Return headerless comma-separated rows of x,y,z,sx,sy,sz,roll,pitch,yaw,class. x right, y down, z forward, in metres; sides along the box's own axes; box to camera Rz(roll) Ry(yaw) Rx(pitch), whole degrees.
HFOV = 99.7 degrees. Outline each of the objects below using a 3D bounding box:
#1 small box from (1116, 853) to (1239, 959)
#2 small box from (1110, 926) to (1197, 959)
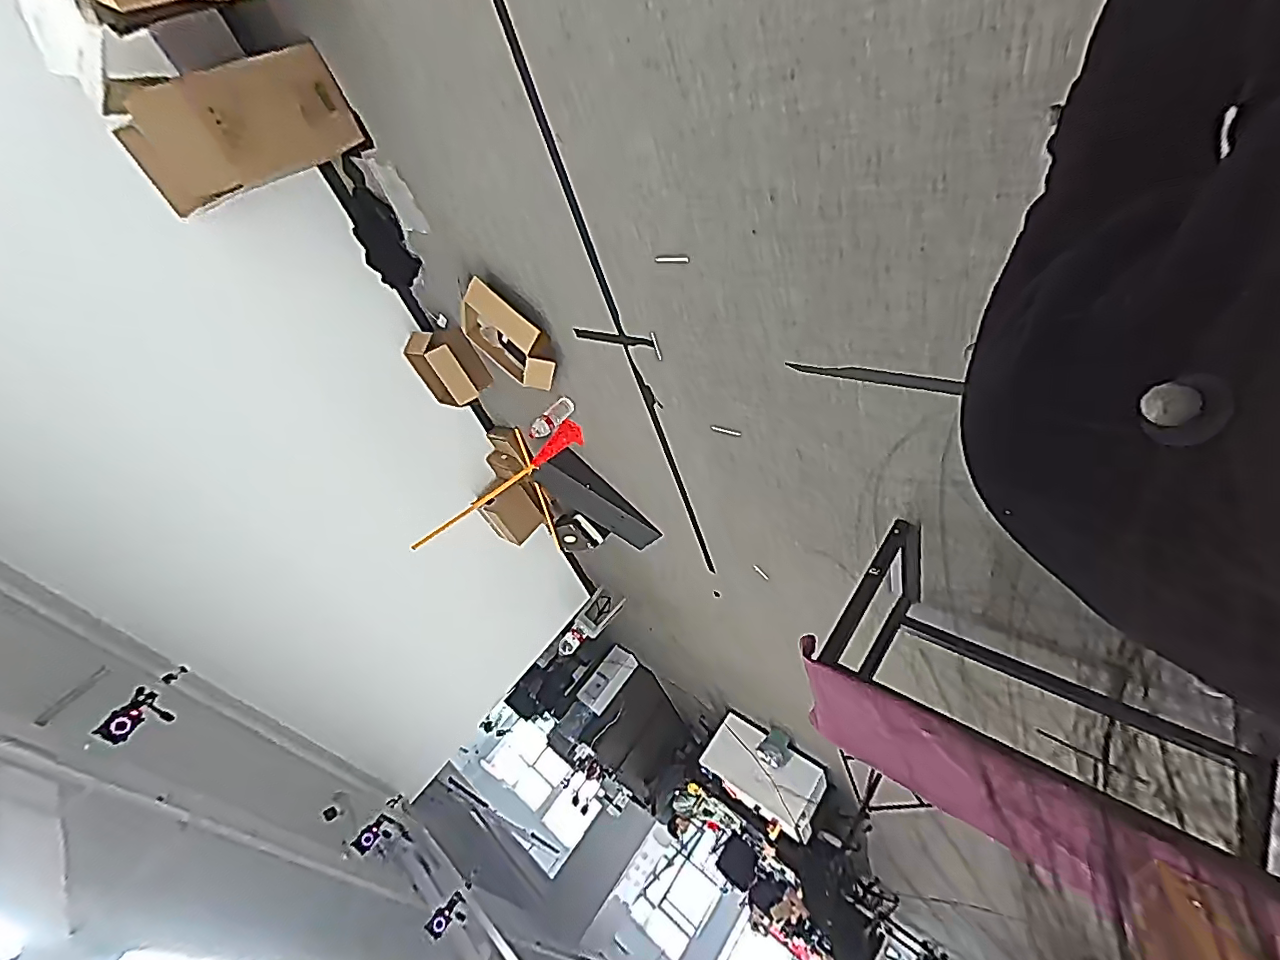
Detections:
1.257,1.024,1.267,0.168,0.176,0.179,17,144,41,small box
1.161,1.134,1.196,0.179,0.176,0.168,15,145,42,small box
